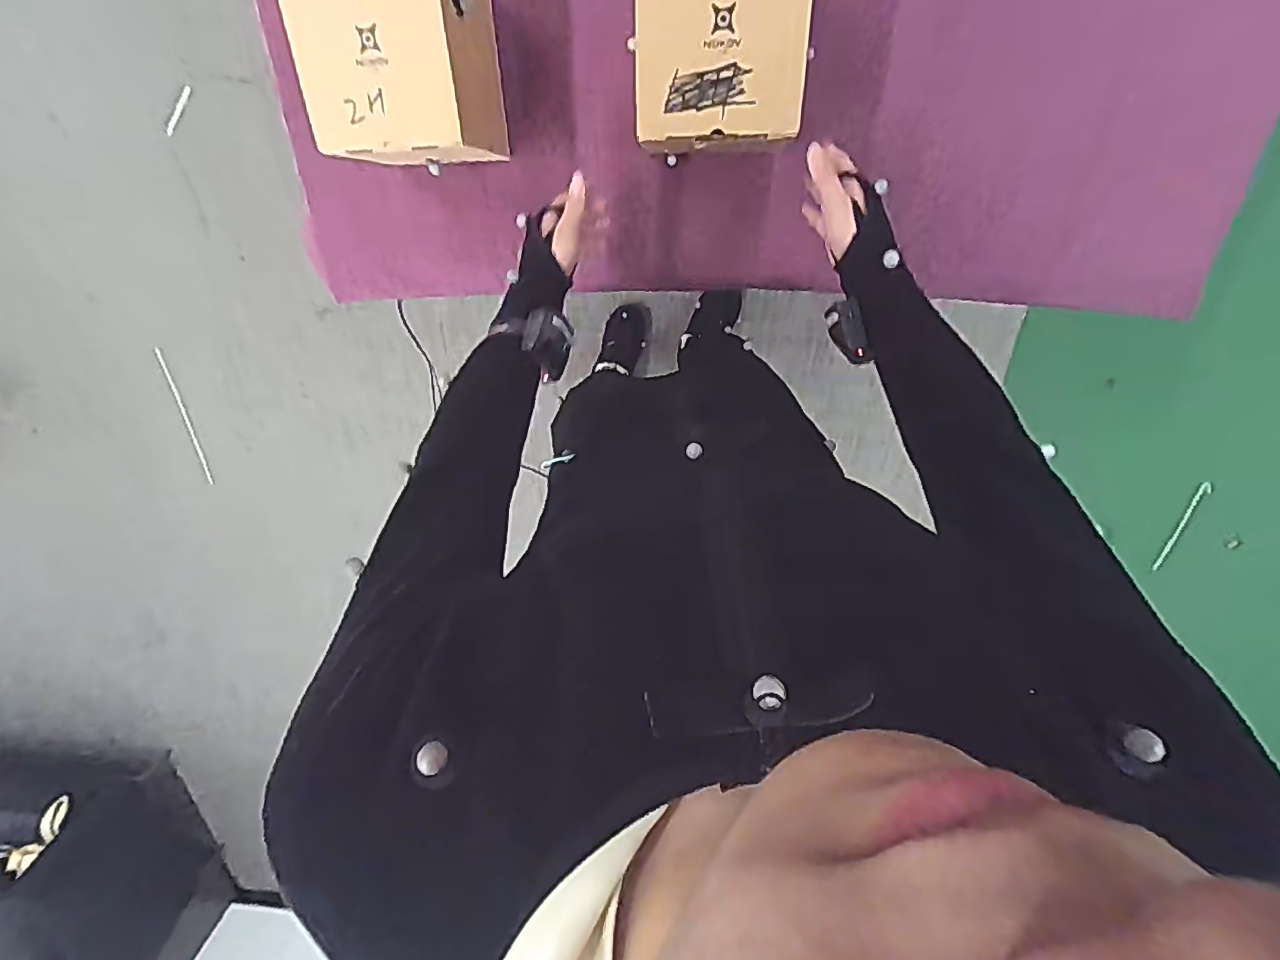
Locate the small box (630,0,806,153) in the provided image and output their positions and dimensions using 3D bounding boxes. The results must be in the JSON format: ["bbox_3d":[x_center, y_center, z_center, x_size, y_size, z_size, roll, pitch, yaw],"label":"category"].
[{"bbox_3d":[0.080,-0.460,0.583,0.168,0.176,0.179,2,116,5],"label":"small box"}]

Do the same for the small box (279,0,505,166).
[{"bbox_3d":[-0.265,-0.467,0.615,0.168,0.176,0.179,1,117,6],"label":"small box"}]
